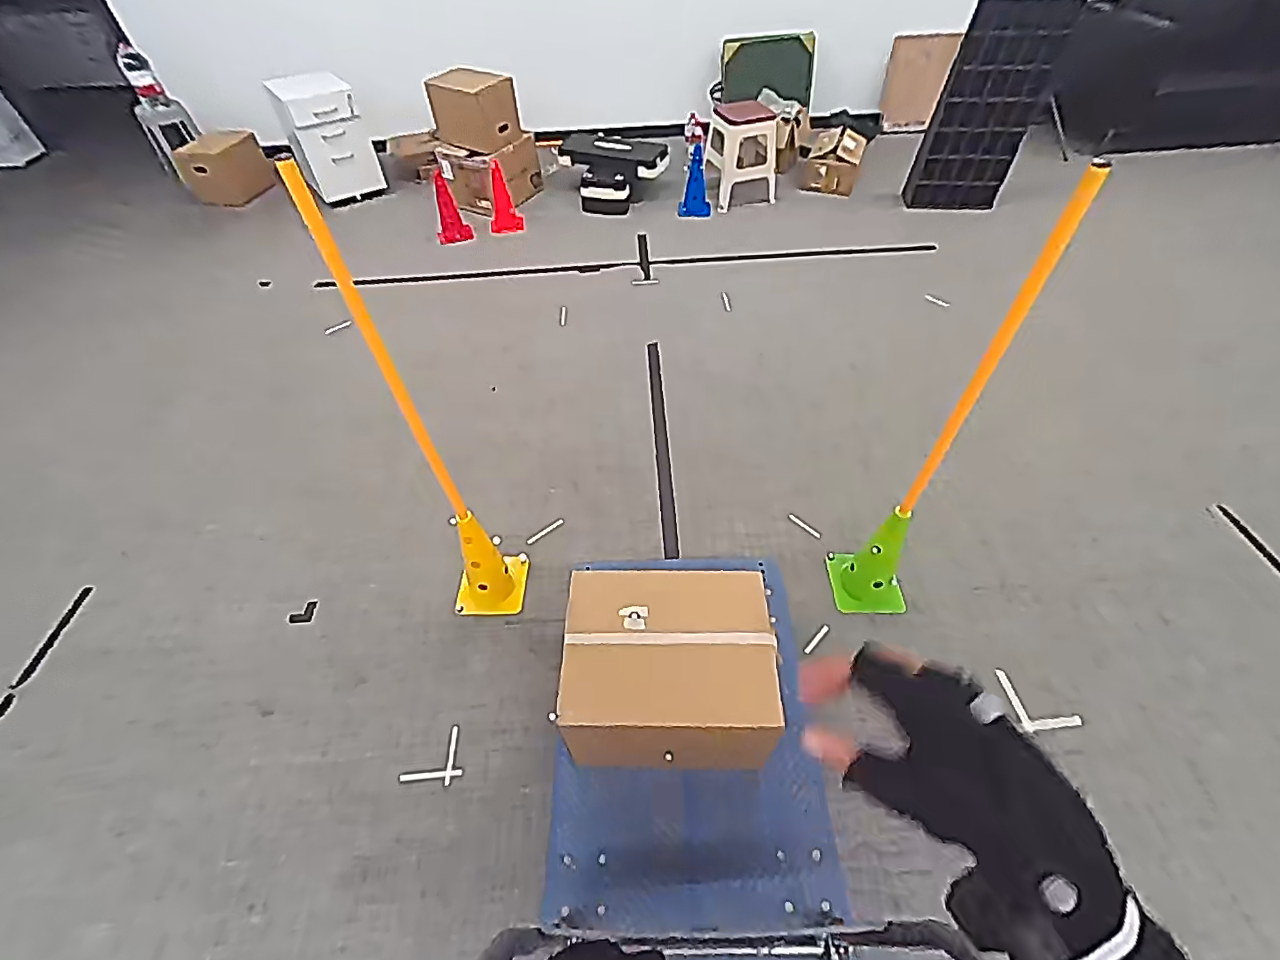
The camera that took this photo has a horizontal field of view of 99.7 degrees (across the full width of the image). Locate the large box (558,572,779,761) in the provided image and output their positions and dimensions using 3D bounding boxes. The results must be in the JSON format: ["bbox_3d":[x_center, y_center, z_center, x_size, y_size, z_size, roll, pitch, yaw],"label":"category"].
[{"bbox_3d":[0.059,0.412,1.172,0.408,0.320,0.320,-1,50,3],"label":"large box"}]

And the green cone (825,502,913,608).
[{"bbox_3d":[0.677,0.190,1.519,0.202,0.368,0.200,0,50,1],"label":"green cone"}]
